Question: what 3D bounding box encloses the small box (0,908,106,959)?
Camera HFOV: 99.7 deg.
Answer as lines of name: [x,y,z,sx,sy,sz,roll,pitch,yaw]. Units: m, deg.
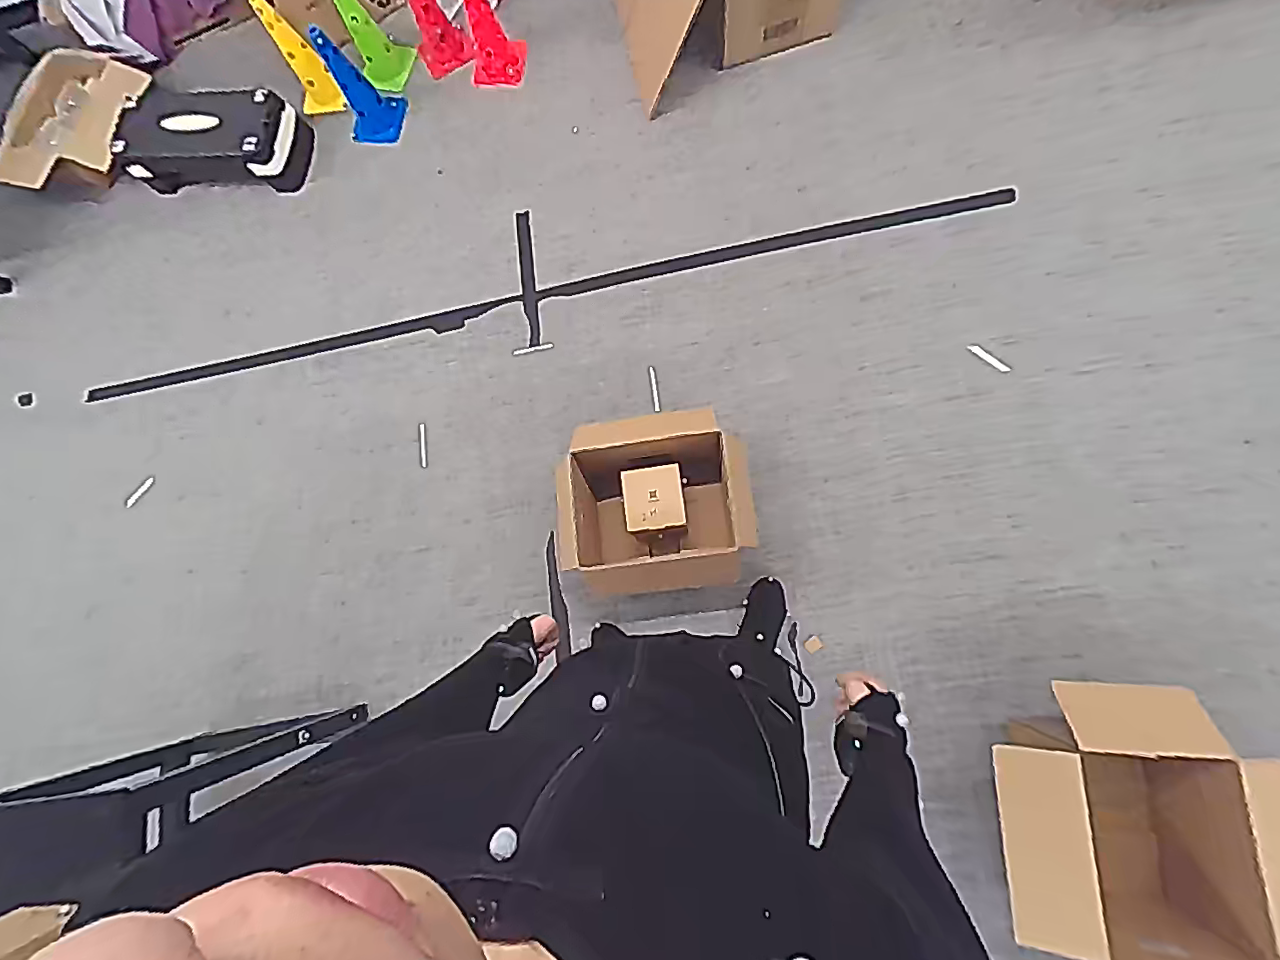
small box: [-1.009,0.819,0.859,0.168,0.176,0.179,-8,80,8]
